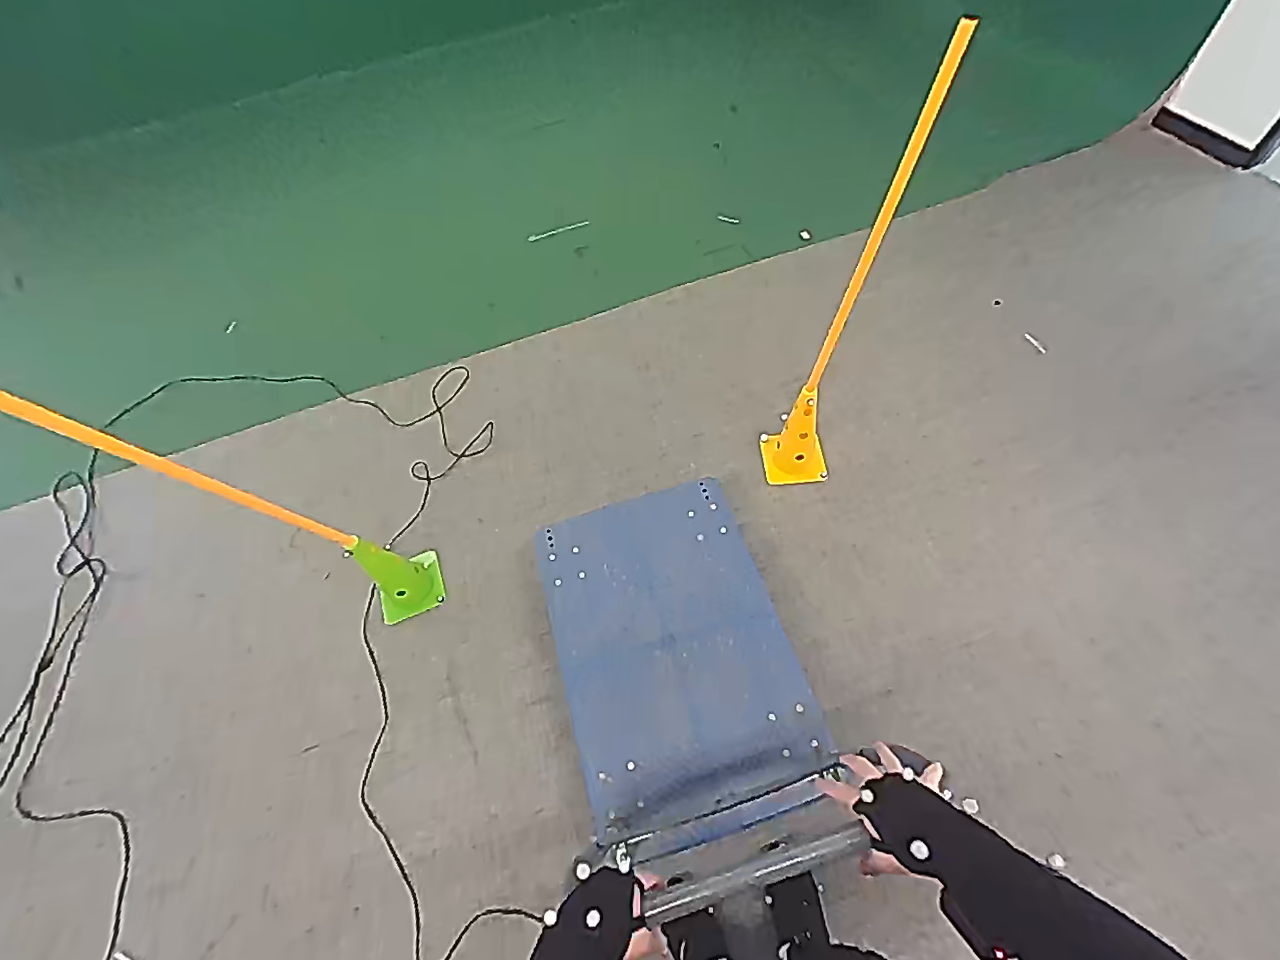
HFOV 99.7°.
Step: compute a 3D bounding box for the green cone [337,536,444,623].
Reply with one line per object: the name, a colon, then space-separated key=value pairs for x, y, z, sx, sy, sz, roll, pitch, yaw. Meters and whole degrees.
green cone: x=-0.764 y=0.253 z=1.599 sx=0.202 sy=0.368 sz=0.200 roll=-24 pitch=59 yaw=-5
